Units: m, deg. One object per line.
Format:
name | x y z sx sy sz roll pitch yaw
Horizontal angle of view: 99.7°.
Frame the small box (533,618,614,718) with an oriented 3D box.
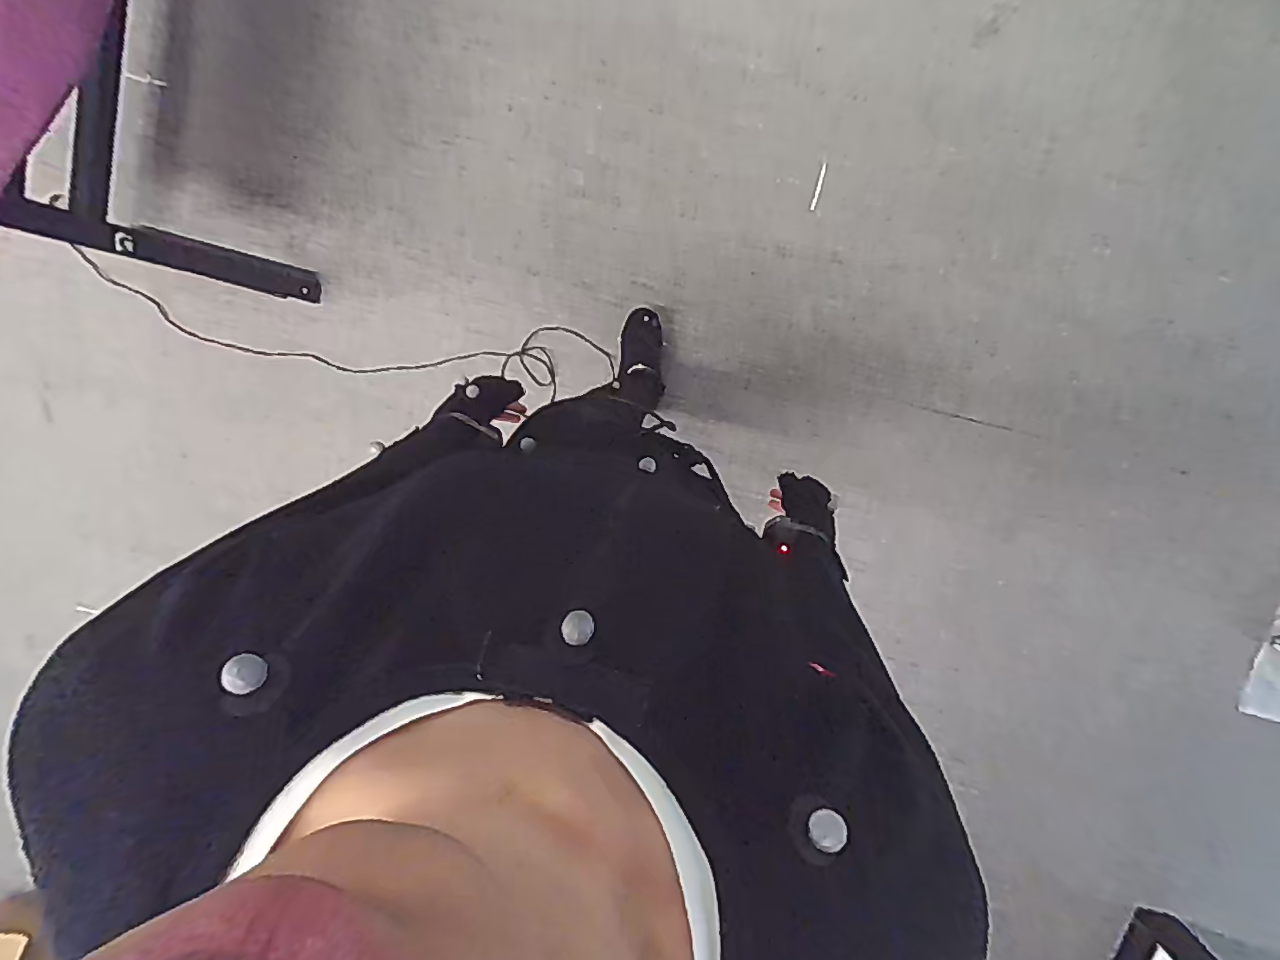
small box | -0.176 0.508 1.479 0.168 0.176 0.179 15 101 2
